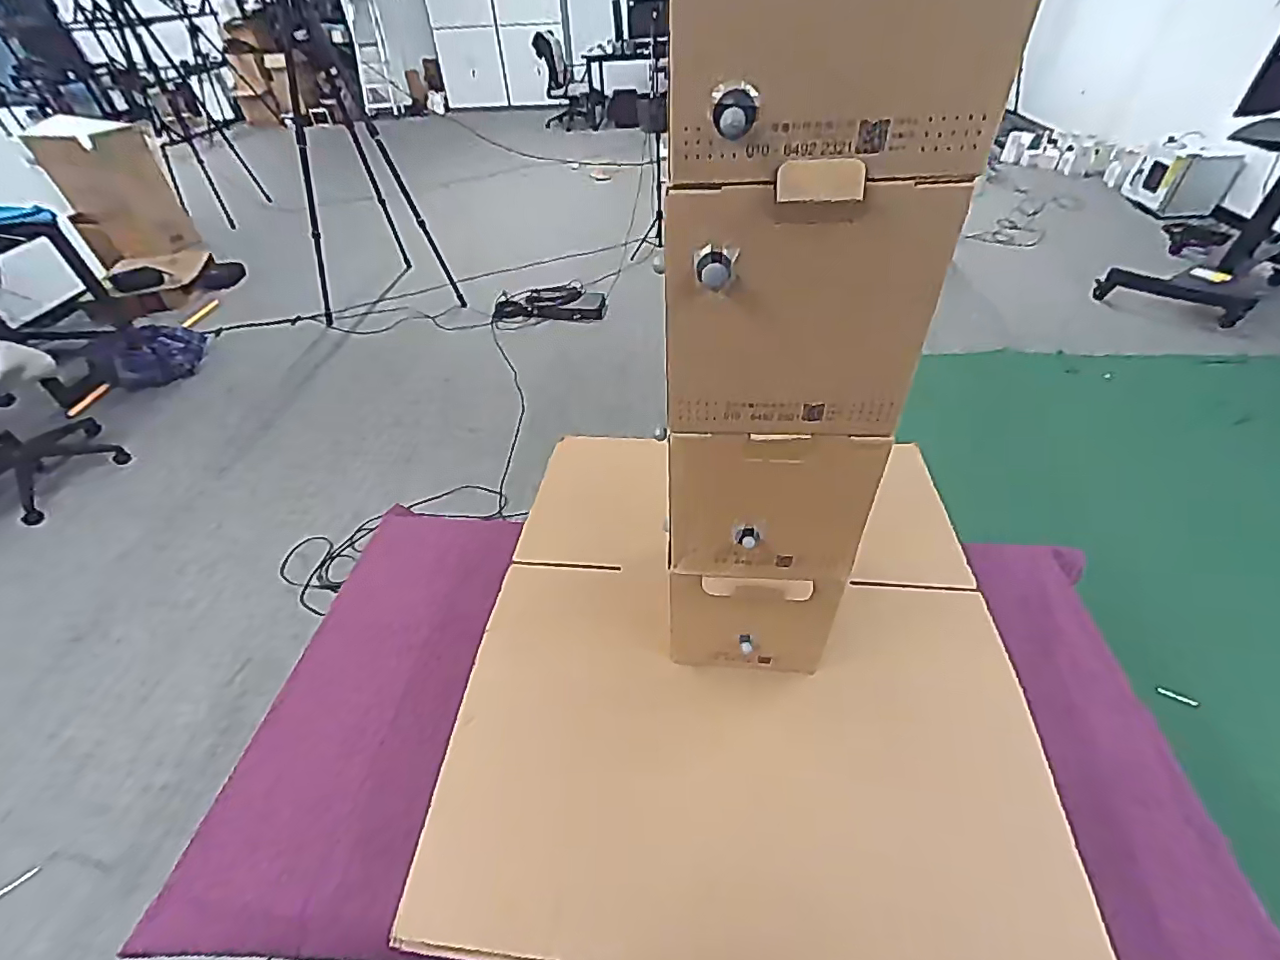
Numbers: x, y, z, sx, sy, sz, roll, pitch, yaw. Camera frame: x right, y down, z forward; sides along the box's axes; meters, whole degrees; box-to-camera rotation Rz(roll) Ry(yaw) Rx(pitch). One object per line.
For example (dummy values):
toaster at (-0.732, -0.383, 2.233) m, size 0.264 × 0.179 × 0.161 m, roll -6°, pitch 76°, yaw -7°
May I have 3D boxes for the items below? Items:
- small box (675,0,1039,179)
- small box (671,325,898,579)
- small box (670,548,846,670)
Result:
small box at (0.104, -0.276, 0.295) m, size 0.168 × 0.176 × 0.179 m, roll -1°, pitch 43°, yaw 2°
small box at (0.116, -0.030, 0.514) m, size 0.168 × 0.176 × 0.179 m, roll 2°, pitch 42°, yaw 5°
small box at (0.123, 0.091, 0.622) m, size 0.168 × 0.176 × 0.179 m, roll 3°, pitch 43°, yaw 7°
